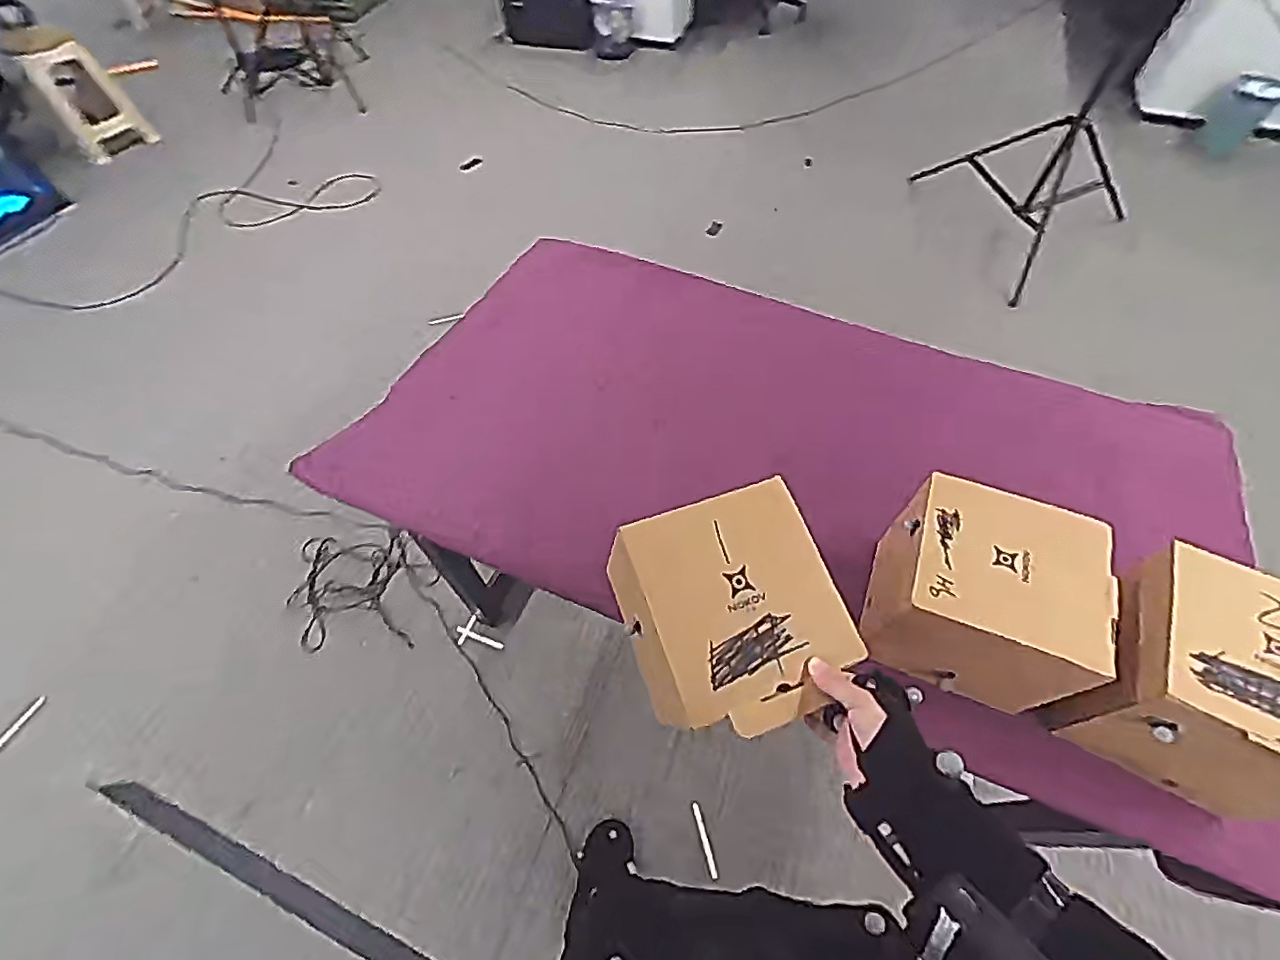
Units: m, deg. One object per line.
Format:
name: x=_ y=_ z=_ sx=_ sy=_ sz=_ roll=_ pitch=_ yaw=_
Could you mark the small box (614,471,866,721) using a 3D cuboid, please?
small box: x=0.079 y=0.118 z=0.535 sx=0.168 sy=0.176 sz=0.179 roll=-16 pitch=71 yaw=-13
